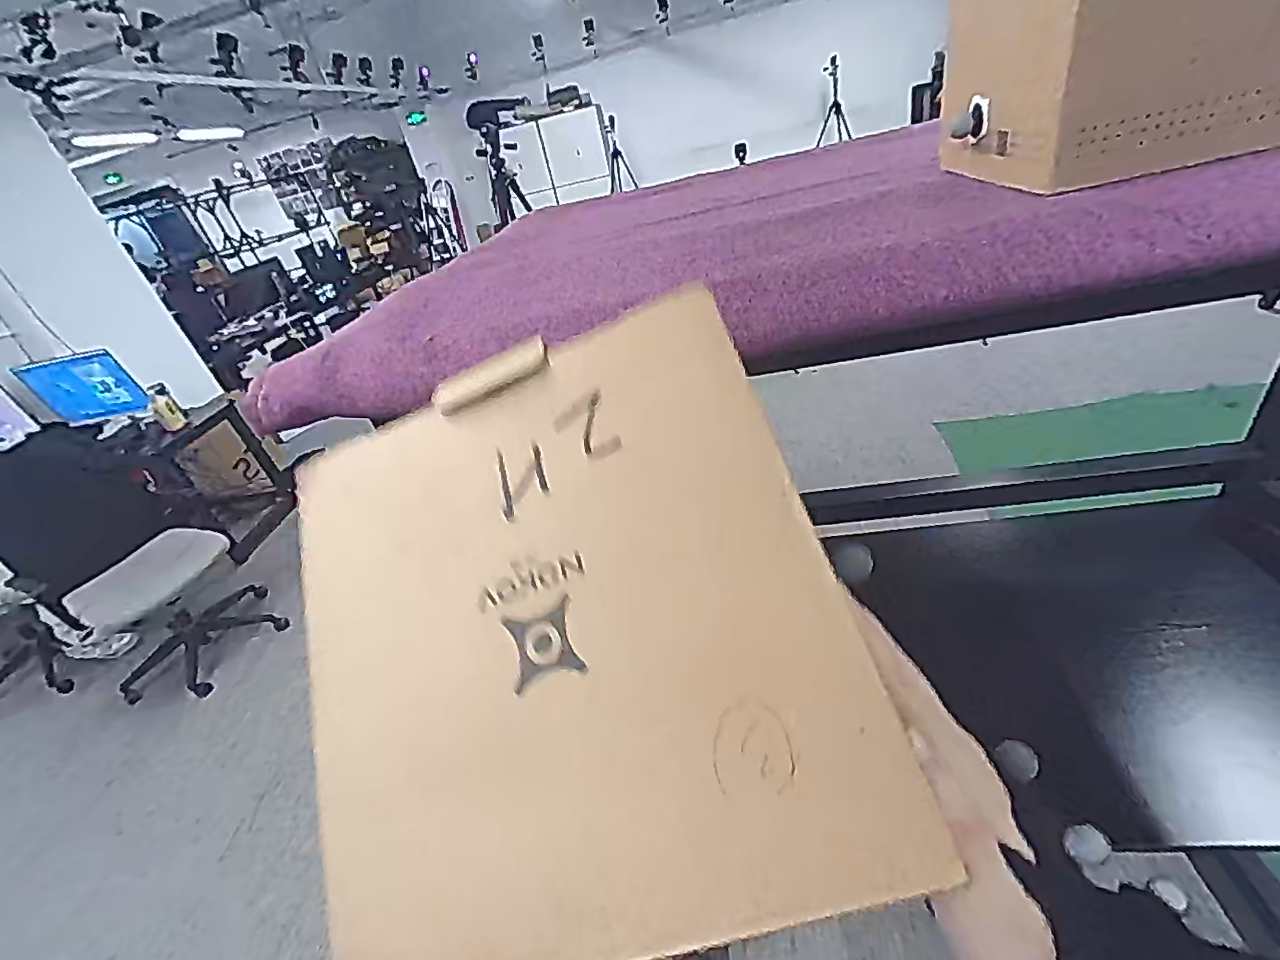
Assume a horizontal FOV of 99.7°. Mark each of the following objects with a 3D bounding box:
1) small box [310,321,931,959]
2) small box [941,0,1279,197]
[{"bbox_3d":[-0.007,0.073,0.238,0.168,0.176,0.179,-22,67,9],"label":"small box"},{"bbox_3d":[0.302,-0.286,0.317,0.179,0.176,0.168,-10,33,10],"label":"small box"}]
